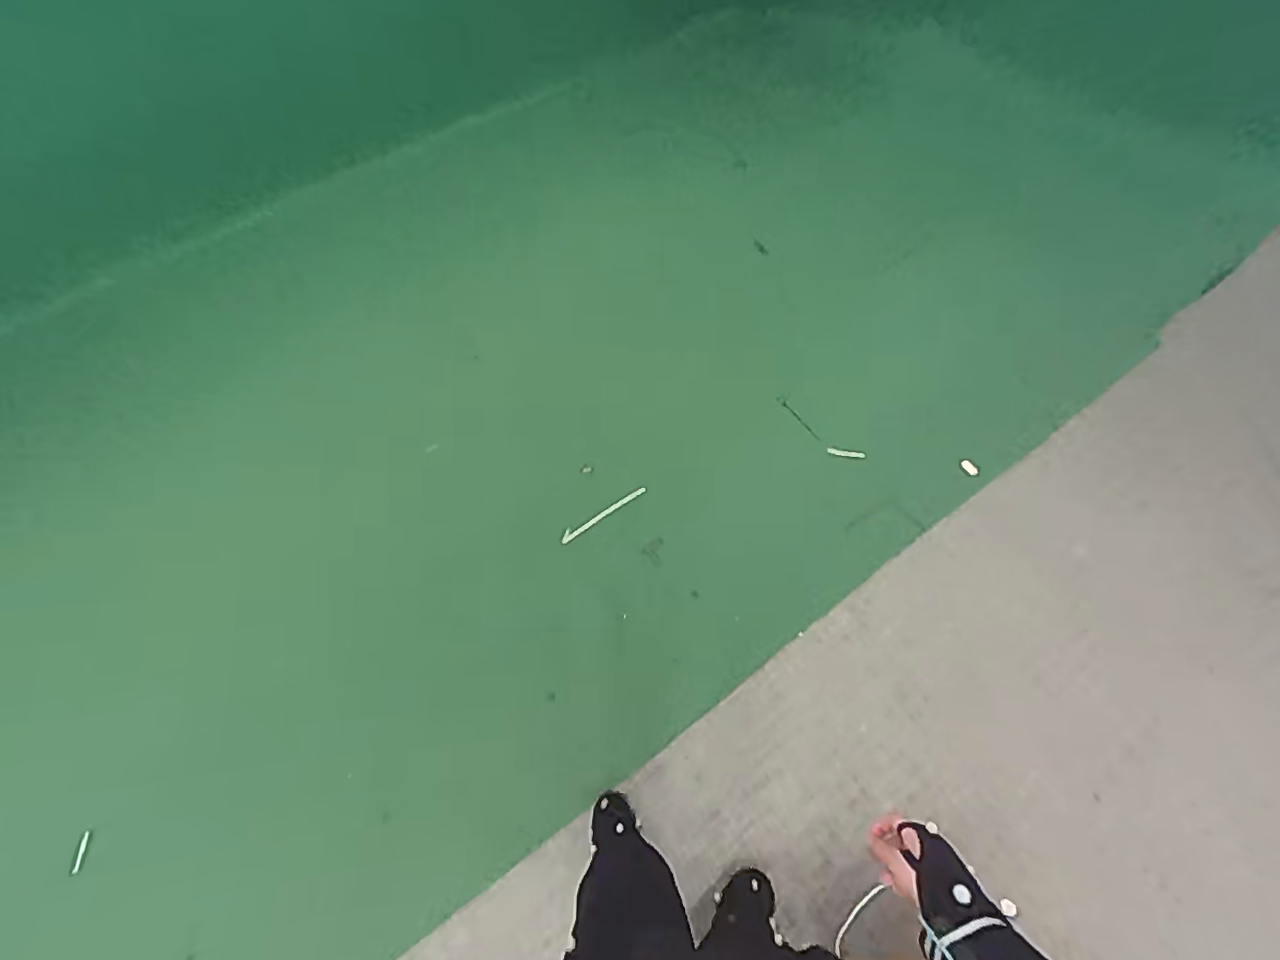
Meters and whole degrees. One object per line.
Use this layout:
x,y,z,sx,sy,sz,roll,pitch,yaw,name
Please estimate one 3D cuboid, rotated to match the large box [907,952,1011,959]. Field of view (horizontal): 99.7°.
0.573,1.090,0.966,0.408,0.320,0.320,-6,60,1,large box
